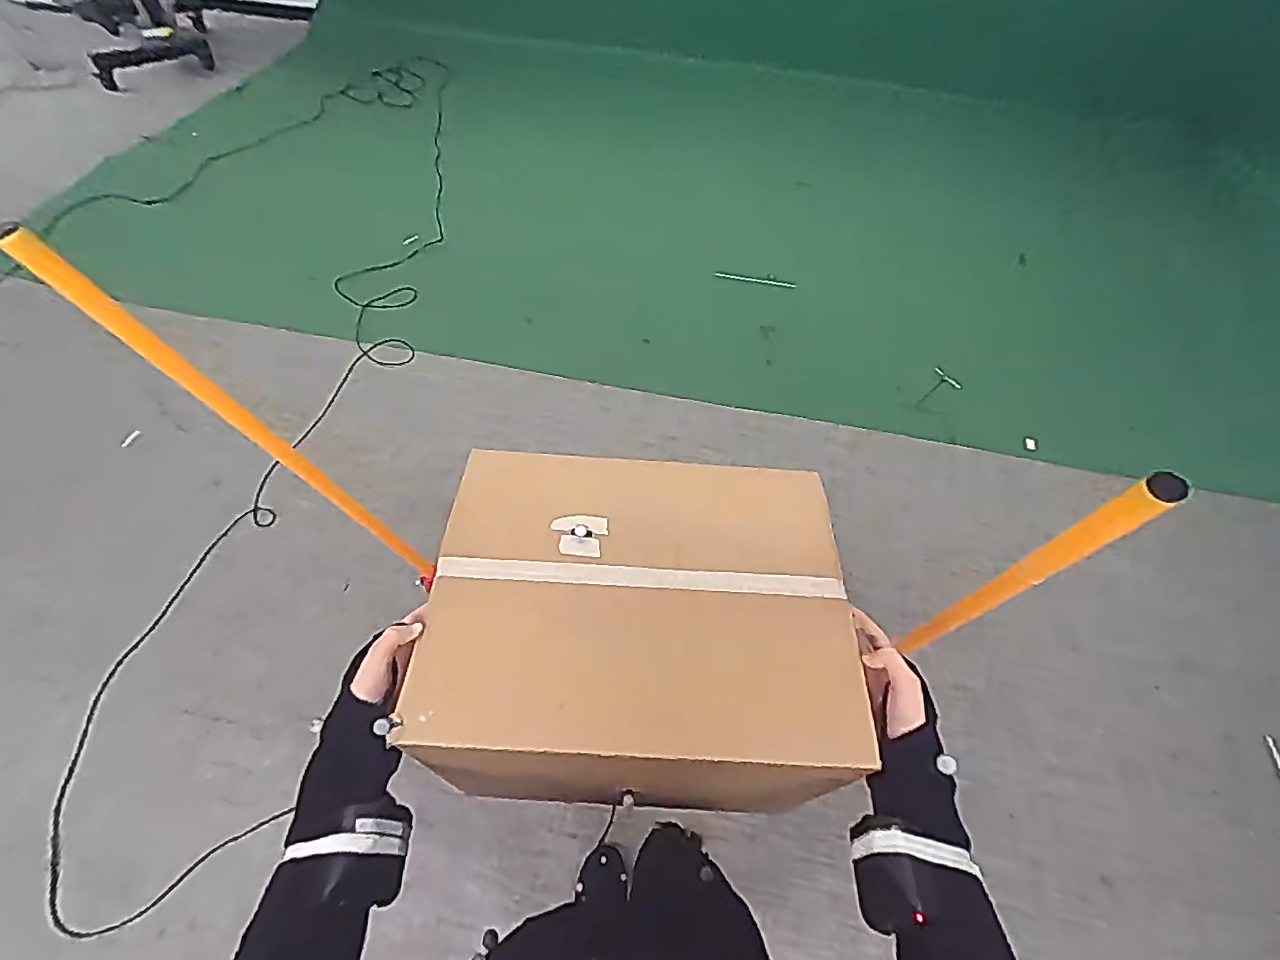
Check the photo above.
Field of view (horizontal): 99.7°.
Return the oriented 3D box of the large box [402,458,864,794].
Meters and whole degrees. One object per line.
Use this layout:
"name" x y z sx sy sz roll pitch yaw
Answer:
"large box" -0.005 0.193 0.666 0.408 0.320 0.320 3 52 -1
